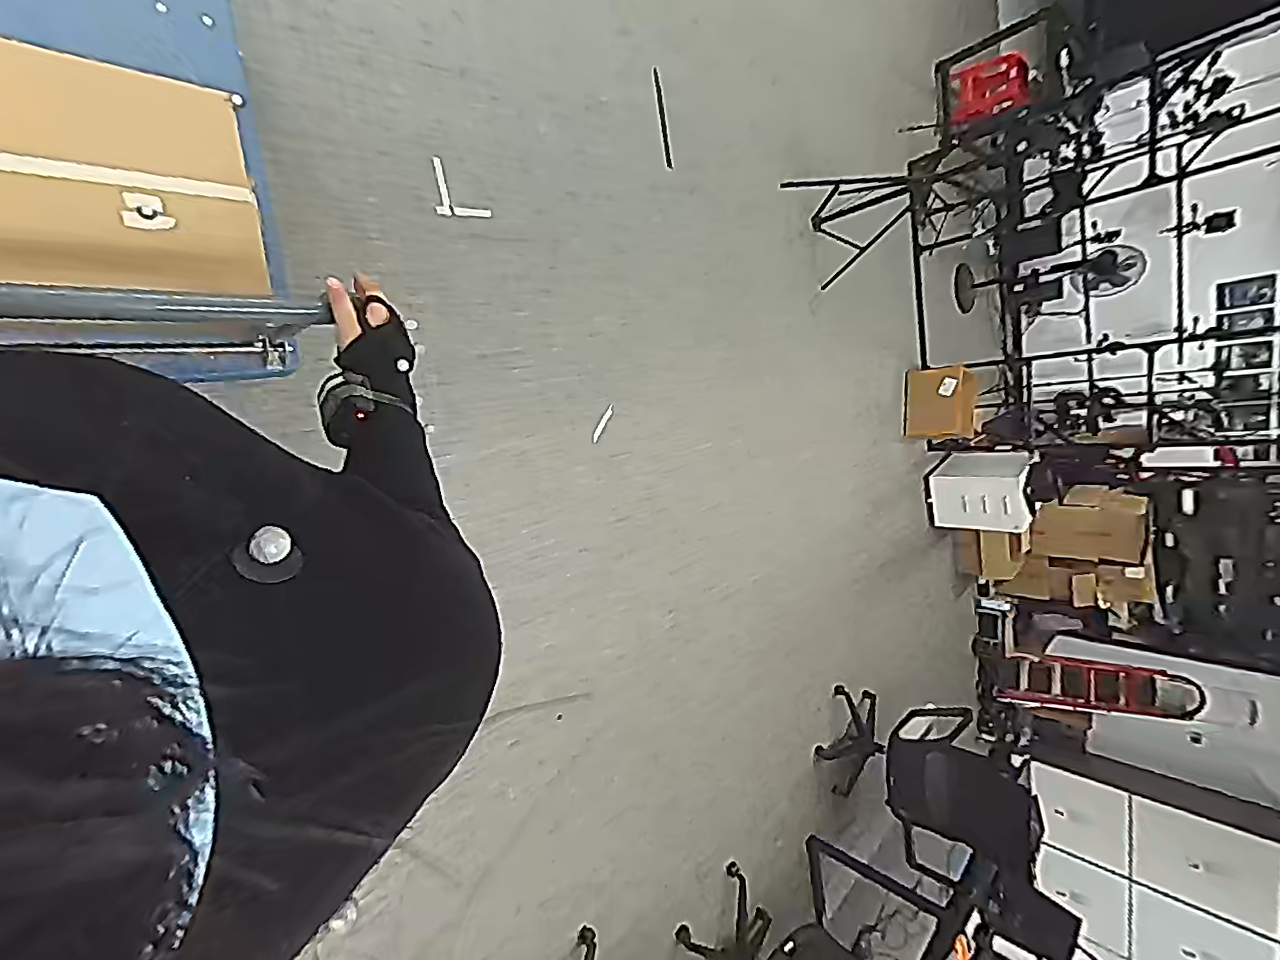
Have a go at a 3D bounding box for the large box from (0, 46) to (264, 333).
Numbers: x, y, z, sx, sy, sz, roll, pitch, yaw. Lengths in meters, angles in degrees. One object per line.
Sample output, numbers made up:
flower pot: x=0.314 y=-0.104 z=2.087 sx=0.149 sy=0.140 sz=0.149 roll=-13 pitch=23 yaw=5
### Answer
large box: x=-0.881 y=-0.415 z=0.843 sx=0.408 sy=0.320 sz=0.320 roll=-14 pitch=101 yaw=-43
